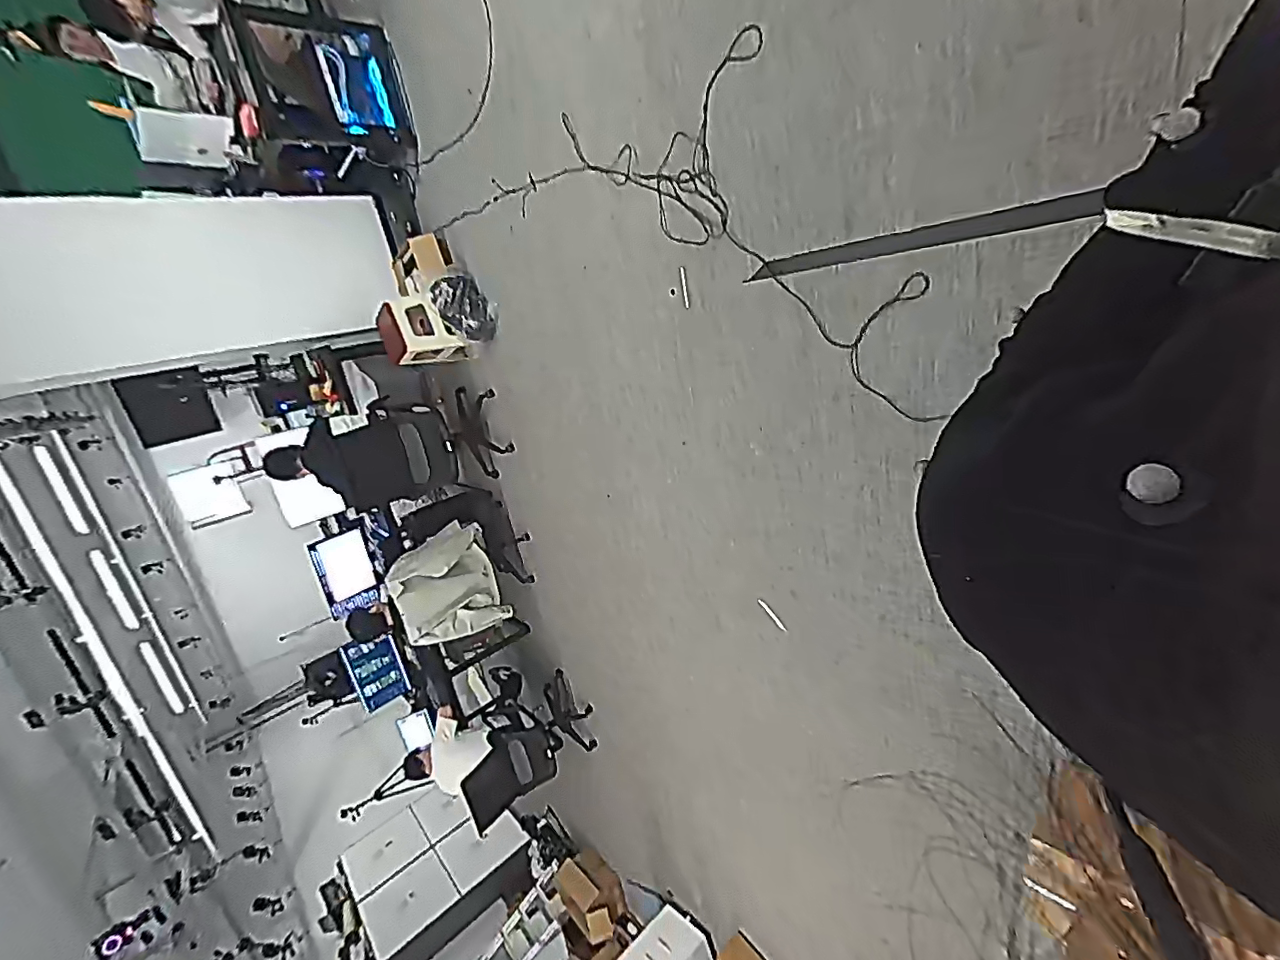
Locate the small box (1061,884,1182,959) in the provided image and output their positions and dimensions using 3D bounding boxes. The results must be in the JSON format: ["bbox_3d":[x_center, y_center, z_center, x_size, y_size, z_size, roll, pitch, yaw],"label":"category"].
[{"bbox_3d":[1.054,1.052,1.185,0.179,0.176,0.168,9,115,50],"label":"small box"}]
